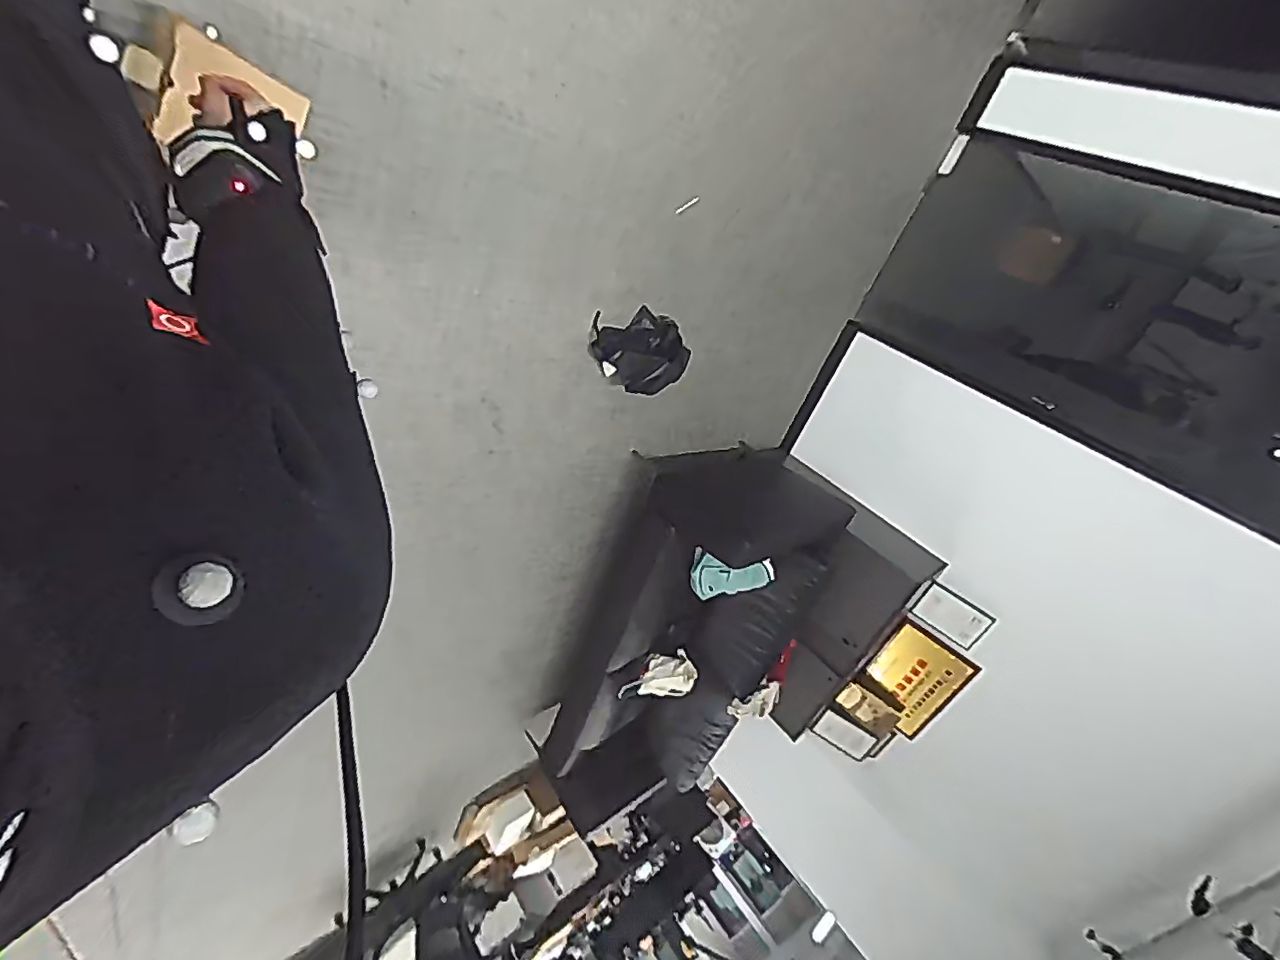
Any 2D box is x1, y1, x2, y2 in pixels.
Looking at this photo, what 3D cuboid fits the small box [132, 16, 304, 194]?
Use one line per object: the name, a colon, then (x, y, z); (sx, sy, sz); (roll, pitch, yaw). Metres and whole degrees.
small box: (-0.701, -0.620, 0.897); (0.179, 0.176, 0.168); (8, 120, -53)
